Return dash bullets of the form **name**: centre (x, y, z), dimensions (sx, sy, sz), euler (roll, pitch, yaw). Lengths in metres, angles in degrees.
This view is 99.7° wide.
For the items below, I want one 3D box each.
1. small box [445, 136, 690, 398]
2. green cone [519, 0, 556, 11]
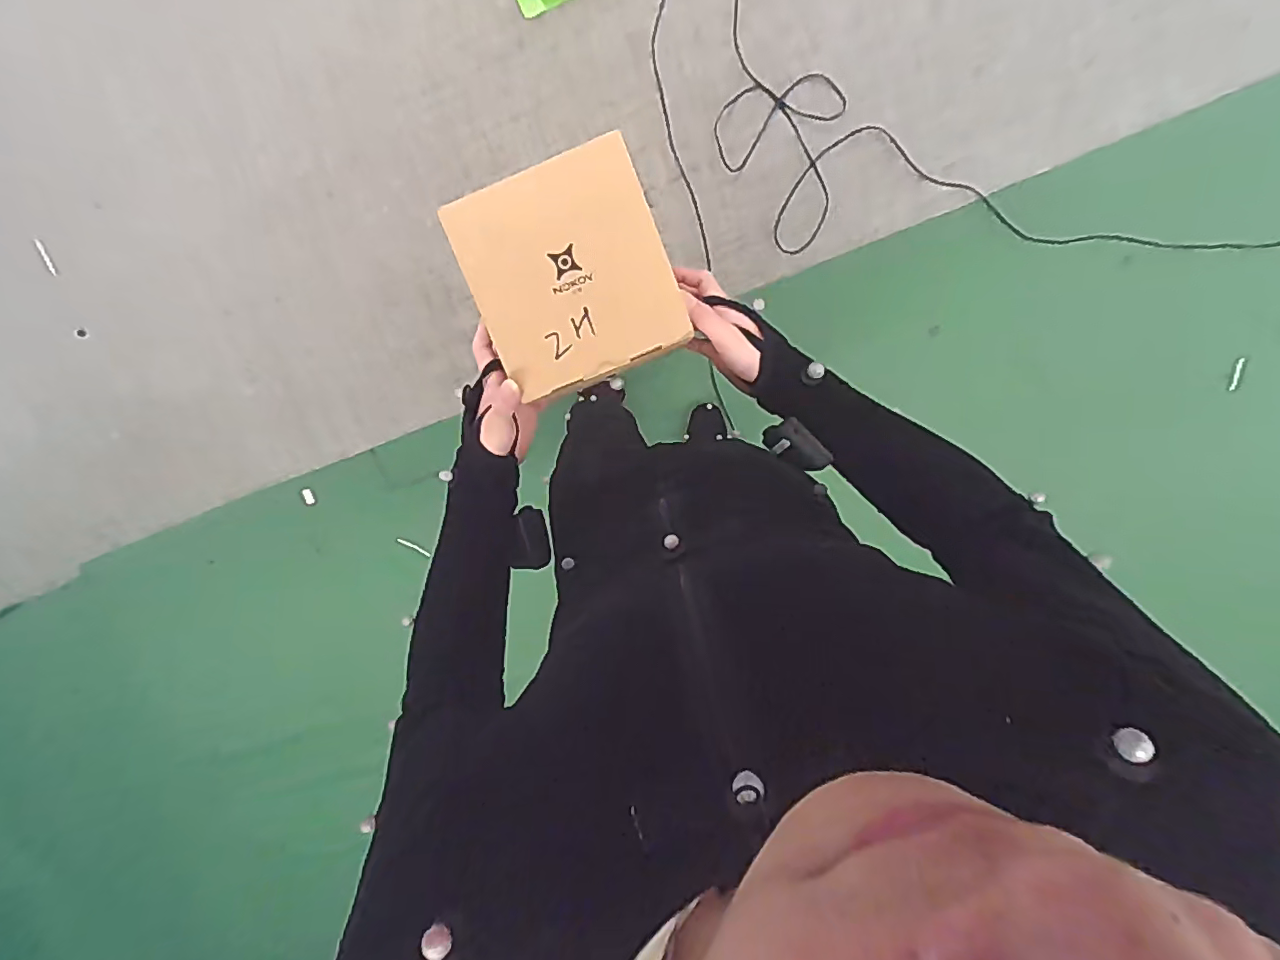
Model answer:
- **small box**: centre (-0.060, -0.191, 0.541), dimensions (0.168, 0.176, 0.179), euler (-20, 99, 5)
- **green cone**: centre (-0.248, -1.278, 1.189), dimensions (0.202, 0.368, 0.200), euler (-20, 101, 7)
